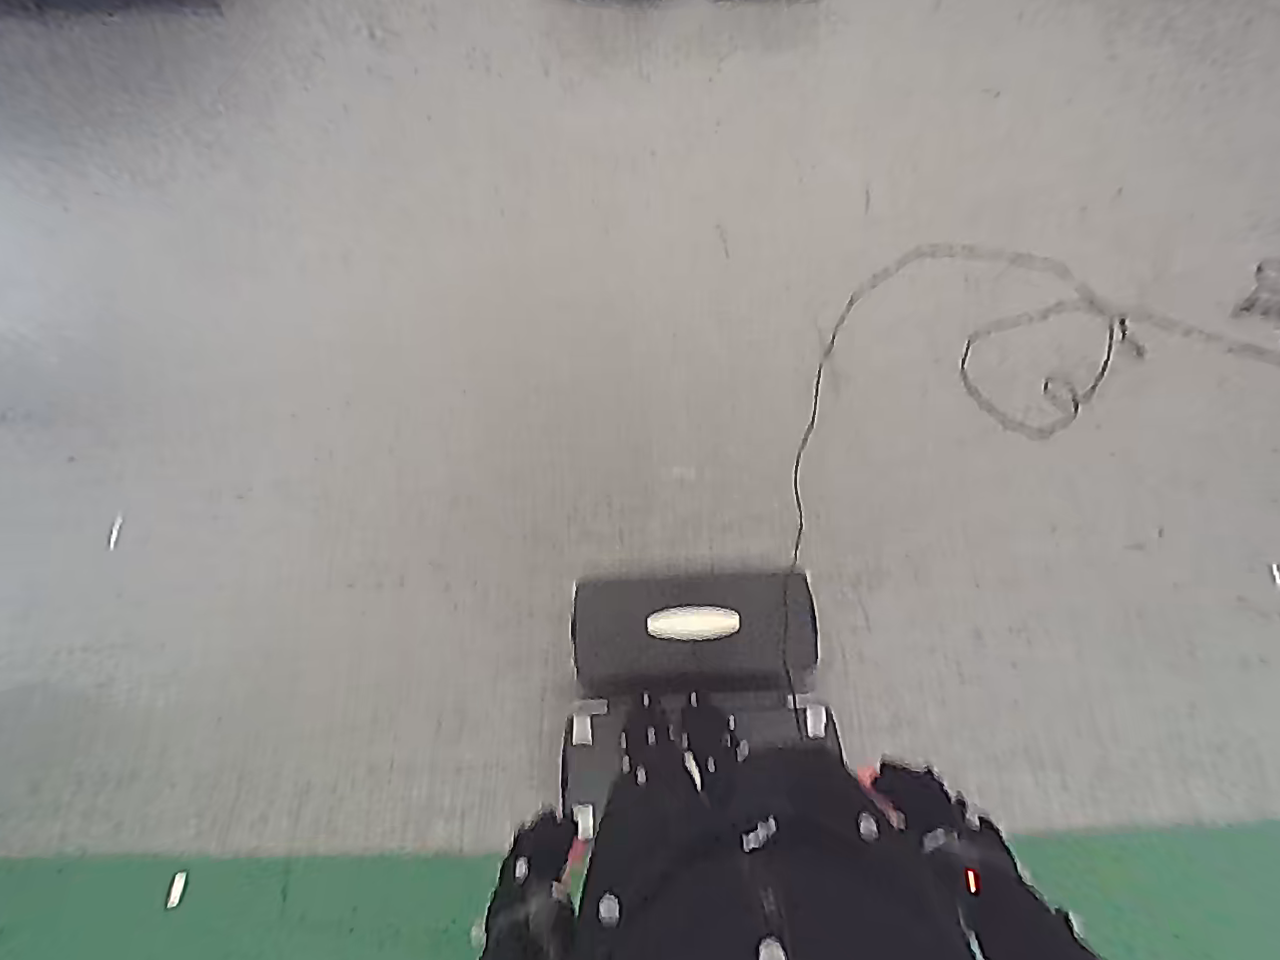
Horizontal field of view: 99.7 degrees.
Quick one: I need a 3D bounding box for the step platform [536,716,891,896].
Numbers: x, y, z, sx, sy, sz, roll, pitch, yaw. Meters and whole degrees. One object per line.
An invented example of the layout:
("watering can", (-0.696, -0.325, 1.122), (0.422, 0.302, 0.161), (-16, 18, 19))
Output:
("step platform", (0.139, 0.664, 1.138), (0.684, 0.204, 0.286), (-2, 71, -1))
